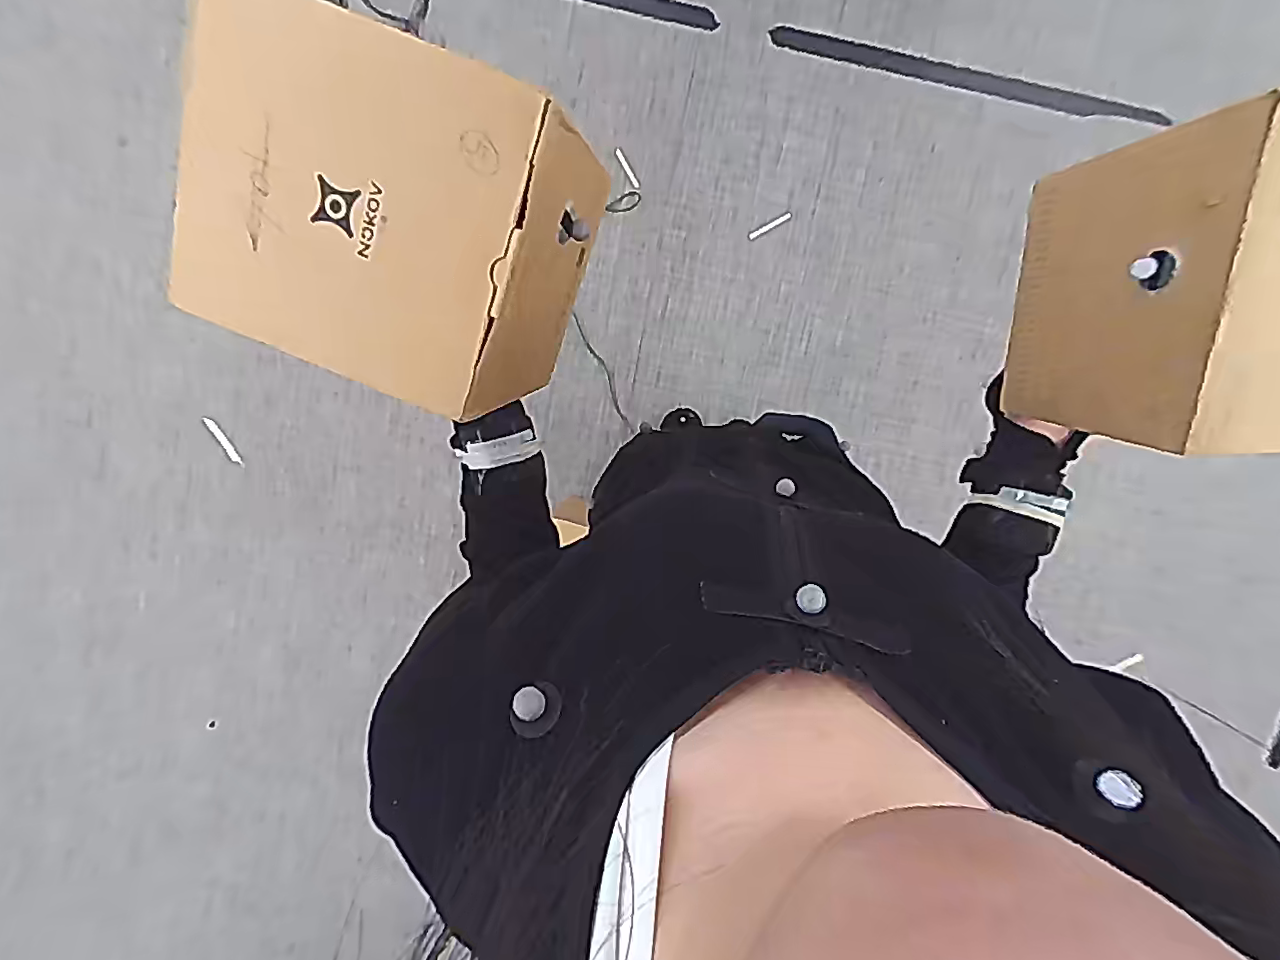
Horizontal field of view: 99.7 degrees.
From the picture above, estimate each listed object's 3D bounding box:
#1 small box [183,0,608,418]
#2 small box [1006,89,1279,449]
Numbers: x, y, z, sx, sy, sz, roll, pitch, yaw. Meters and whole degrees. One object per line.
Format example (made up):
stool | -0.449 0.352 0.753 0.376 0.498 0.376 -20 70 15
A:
small box | -0.134 -0.159 0.350 0.179 0.176 0.168 22 107 1
small box | 0.378 -0.122 0.352 0.168 0.176 0.179 0 106 2
